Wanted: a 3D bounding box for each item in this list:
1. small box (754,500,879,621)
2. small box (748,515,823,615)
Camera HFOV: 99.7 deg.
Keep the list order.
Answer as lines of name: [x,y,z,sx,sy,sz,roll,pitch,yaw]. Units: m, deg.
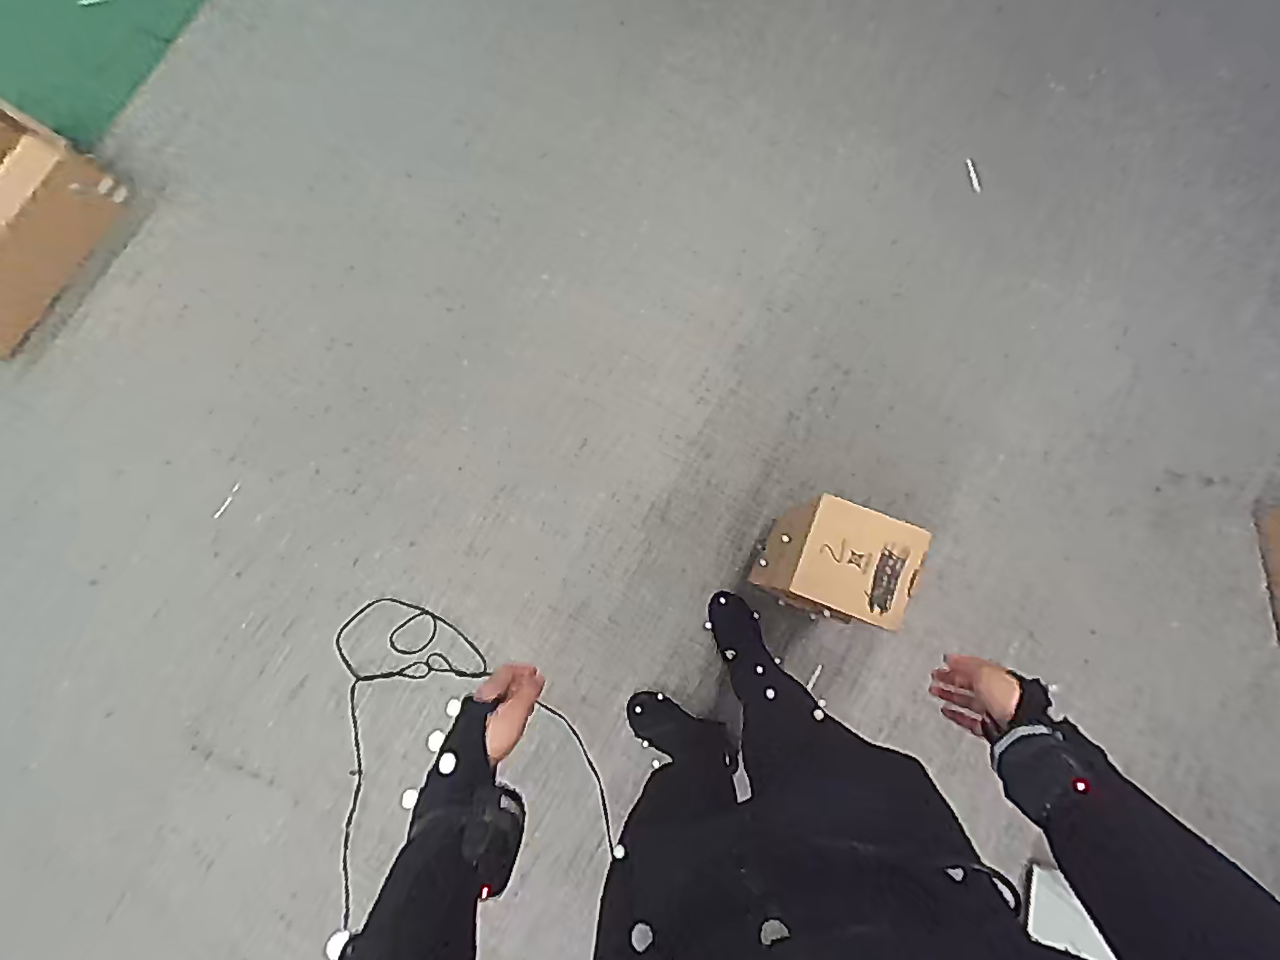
small box: [0.339,0.159,1.079,0.168,0.176,0.179,24,83,5]
small box: [0.359,0.187,1.238,0.168,0.176,0.179,27,84,7]
